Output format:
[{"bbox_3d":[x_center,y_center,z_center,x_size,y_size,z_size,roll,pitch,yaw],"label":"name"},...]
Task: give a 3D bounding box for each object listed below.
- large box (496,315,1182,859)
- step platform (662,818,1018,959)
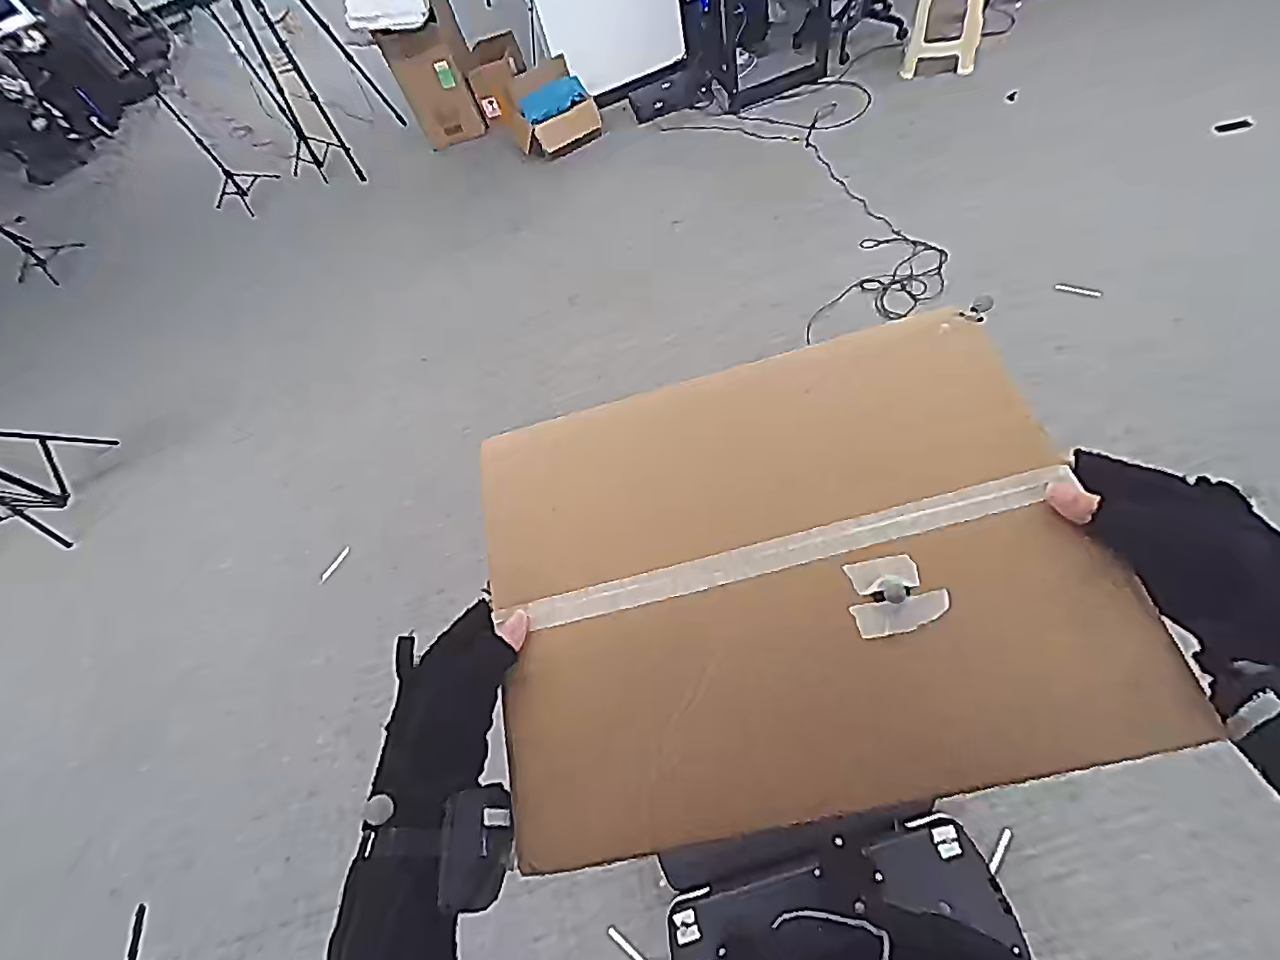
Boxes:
[{"bbox_3d":[0.122,0.112,0.524,0.408,0.320,0.320,-16,66,6],"label":"large box"},{"bbox_3d":[0.392,0.964,1.130,0.684,0.204,0.286,-22,55,4],"label":"step platform"}]
